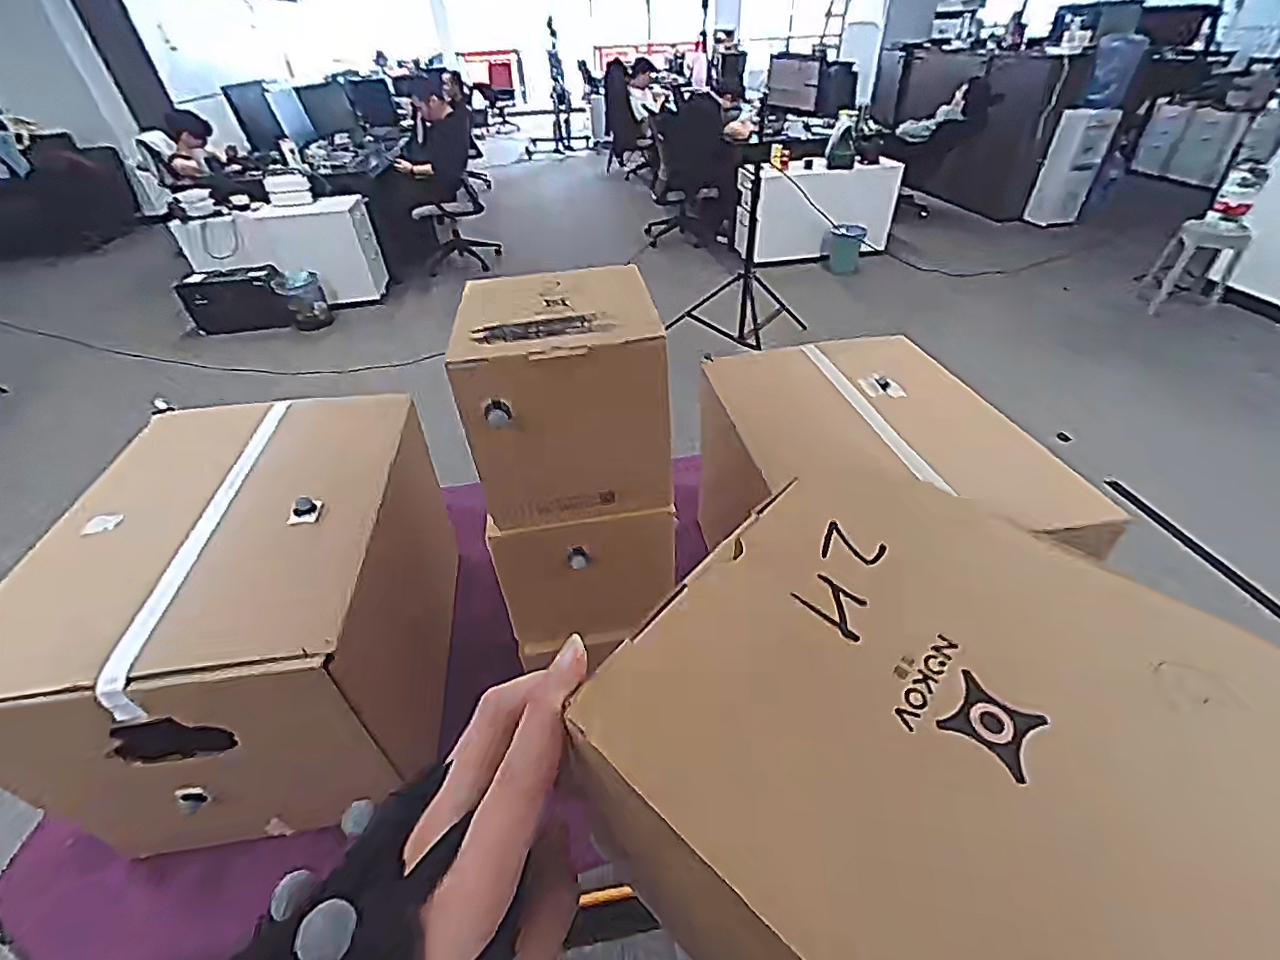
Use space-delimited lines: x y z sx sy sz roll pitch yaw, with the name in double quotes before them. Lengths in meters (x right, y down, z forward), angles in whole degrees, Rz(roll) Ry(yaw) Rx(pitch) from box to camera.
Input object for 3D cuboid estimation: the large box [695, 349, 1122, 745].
"large box" 0.273 0.064 0.725 0.320 0.320 0.408 -8 38 -6
